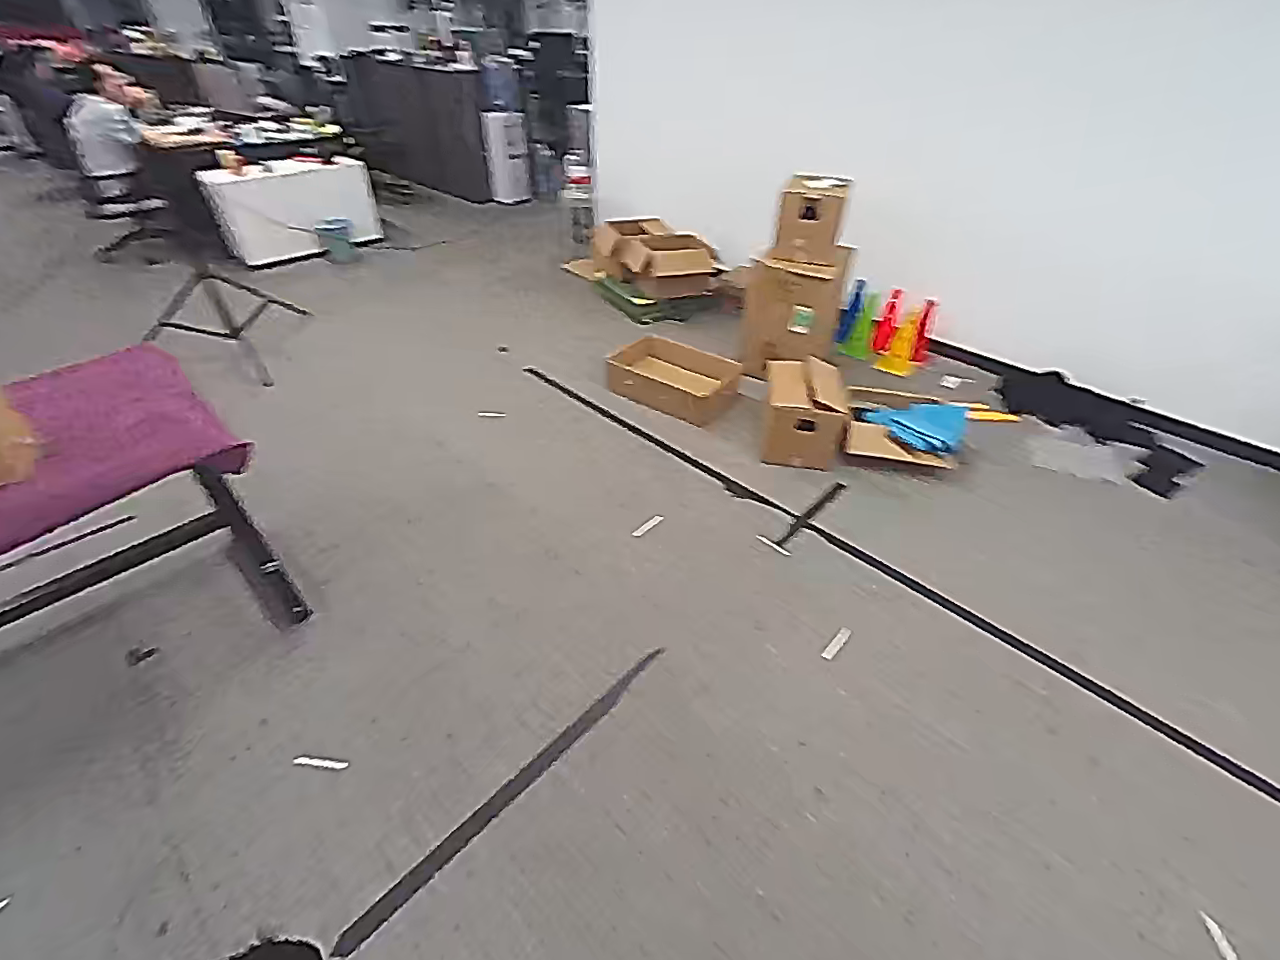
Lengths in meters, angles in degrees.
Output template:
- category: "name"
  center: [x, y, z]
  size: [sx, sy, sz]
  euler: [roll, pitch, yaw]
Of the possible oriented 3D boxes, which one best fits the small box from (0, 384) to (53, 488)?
- category: "small box"
  center: [-1.437, -0.079, 1.158]
  size: [0.179, 0.176, 0.168]
  euler: [-20, 44, -25]
